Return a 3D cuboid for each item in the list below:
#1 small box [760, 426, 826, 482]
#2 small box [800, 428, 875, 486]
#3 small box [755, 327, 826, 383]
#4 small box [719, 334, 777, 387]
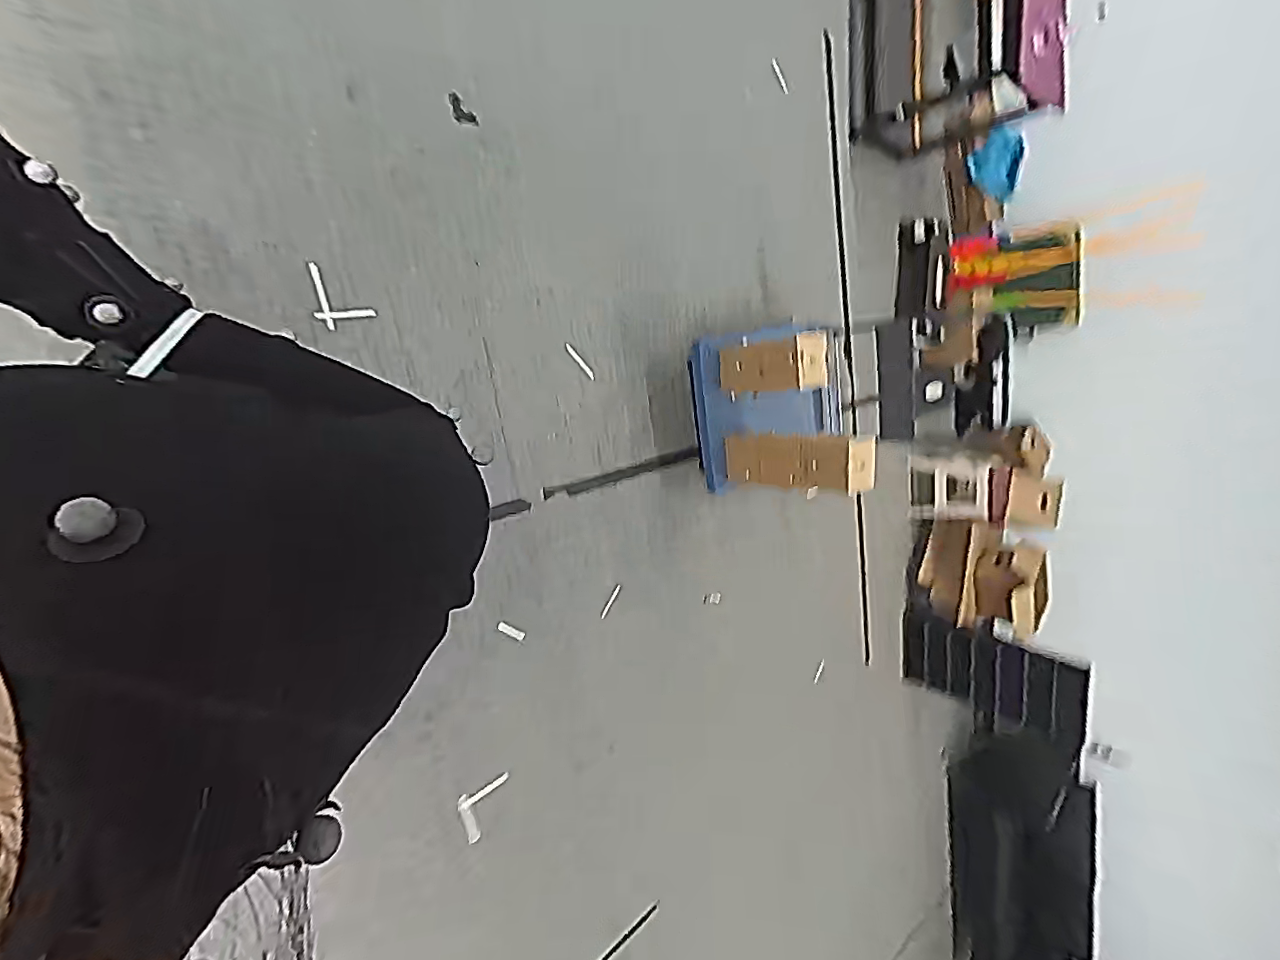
[{"bbox_3d":[0.534,-0.096,1.889,0.168,0.176,0.179,-13,104,-39],"label":"small box"},{"bbox_3d":[0.644,-0.081,1.767,0.179,0.176,0.168,-11,103,-40],"label":"small box"},{"bbox_3d":[0.508,-0.420,1.825,0.179,0.176,0.168,-18,106,-39],"label":"small box"},{"bbox_3d":[0.400,-0.430,1.949,0.168,0.176,0.179,-14,104,-39],"label":"small box"}]
